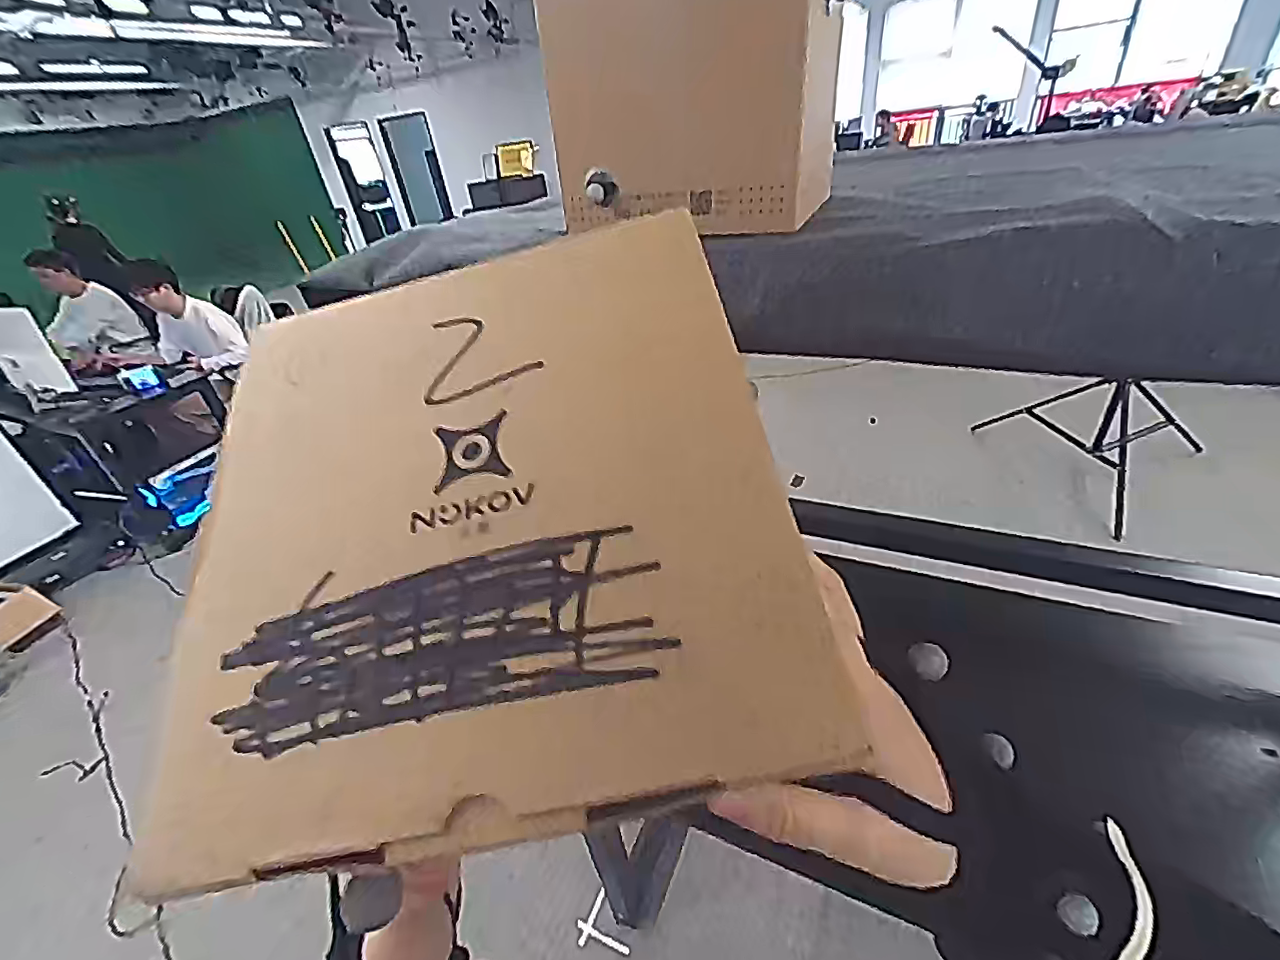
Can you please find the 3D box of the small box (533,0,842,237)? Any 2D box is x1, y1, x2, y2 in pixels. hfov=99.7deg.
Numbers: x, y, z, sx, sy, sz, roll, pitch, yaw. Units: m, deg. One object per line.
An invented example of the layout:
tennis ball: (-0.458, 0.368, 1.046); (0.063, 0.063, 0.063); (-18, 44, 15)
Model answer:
small box: (0.048, -0.276, 0.388); (0.168, 0.176, 0.179); (9, 35, 22)
